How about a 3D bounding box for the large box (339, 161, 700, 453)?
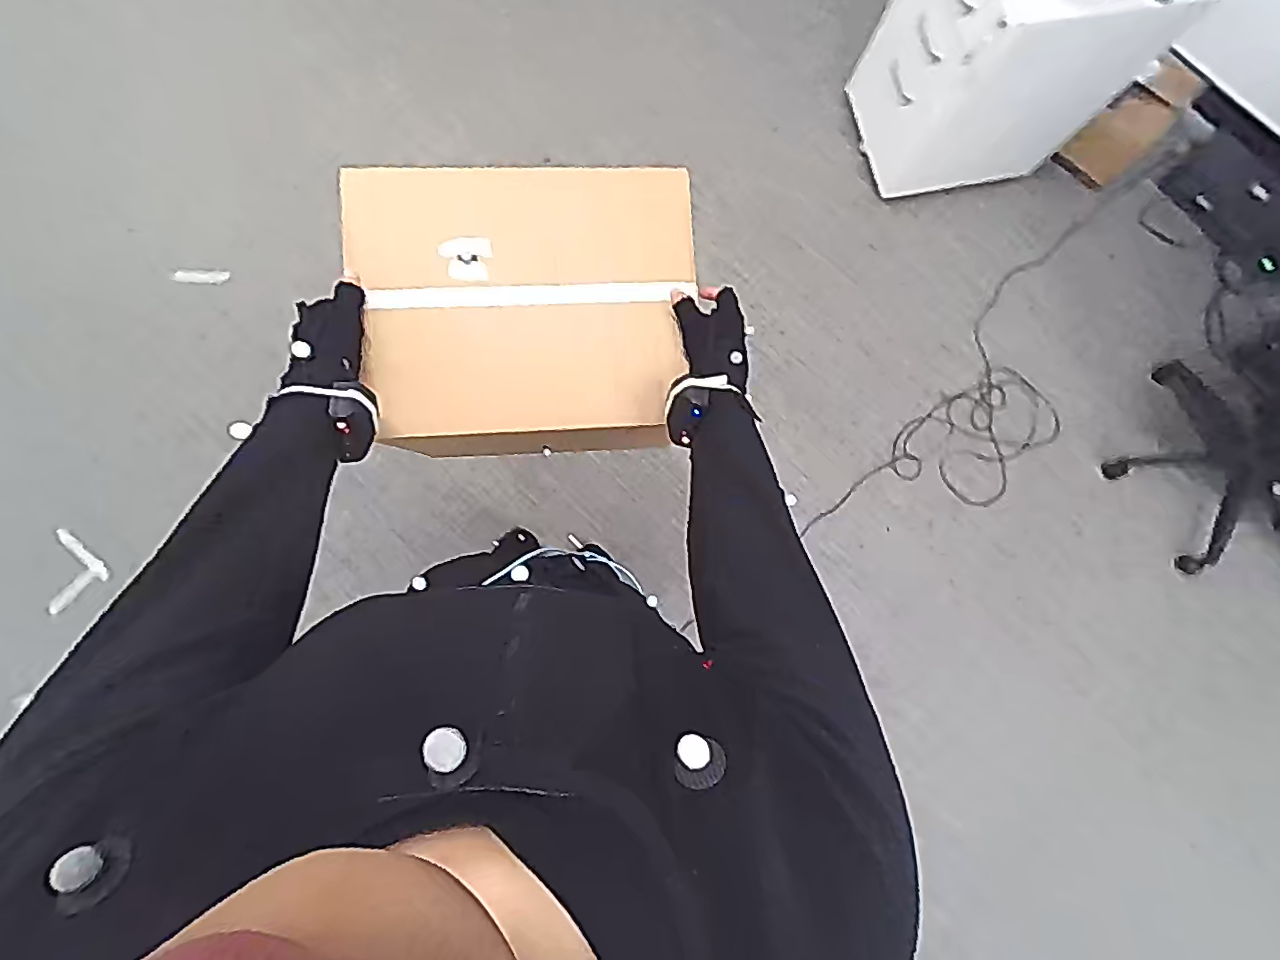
[{"bbox_3d":[-0.150,-0.216,0.787,0.408,0.320,0.320,-5,88,-5],"label":"large box"}]
